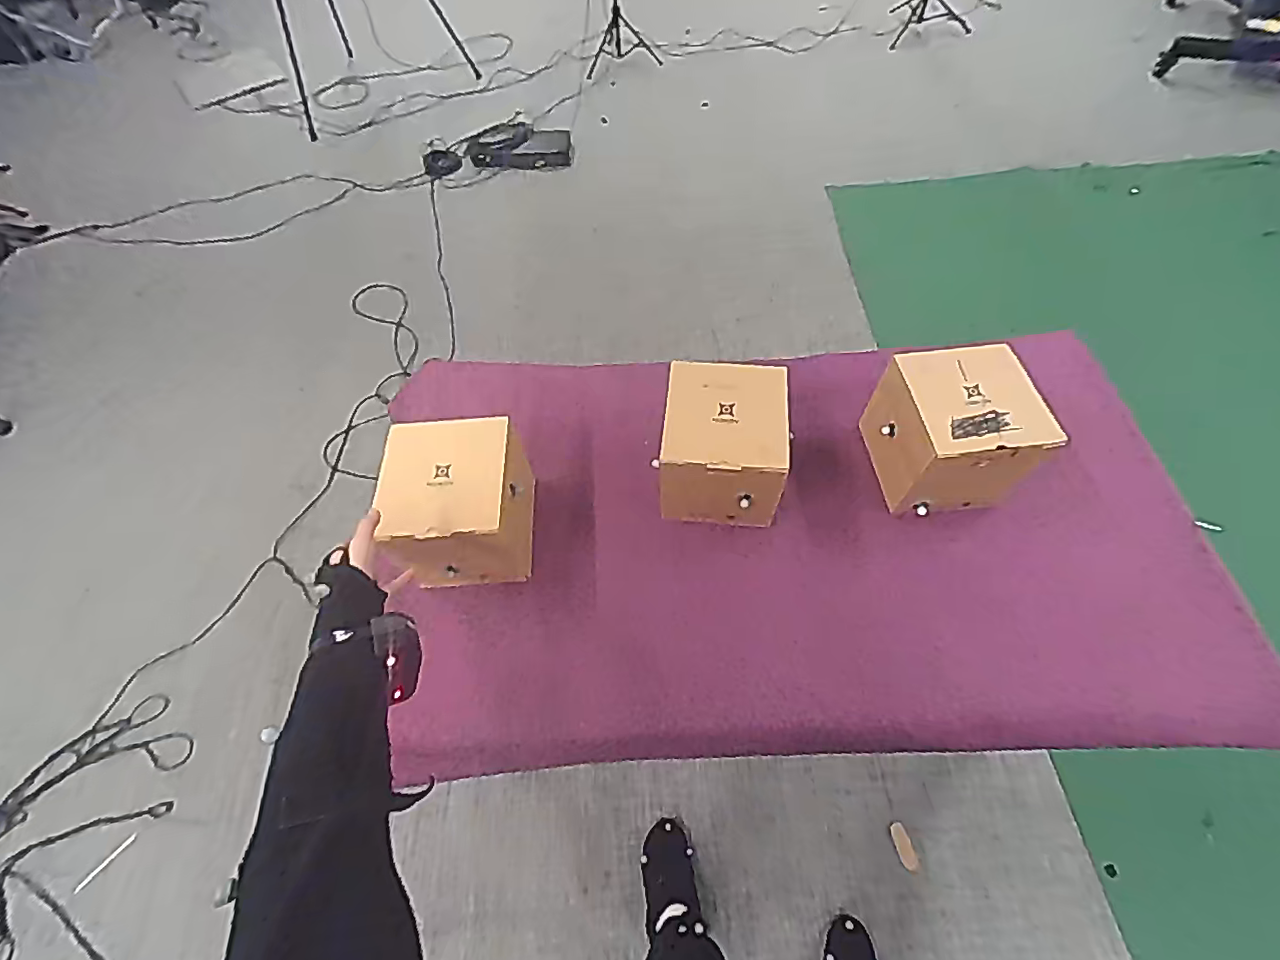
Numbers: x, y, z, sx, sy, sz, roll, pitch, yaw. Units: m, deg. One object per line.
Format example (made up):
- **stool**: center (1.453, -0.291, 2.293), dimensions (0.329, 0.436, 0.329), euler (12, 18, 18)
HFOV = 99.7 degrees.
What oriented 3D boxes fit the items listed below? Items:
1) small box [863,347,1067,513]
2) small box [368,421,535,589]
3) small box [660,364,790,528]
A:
- **small box**: center (0.446, -0.063, 0.778), dimensions (0.168, 0.176, 0.179), euler (-5, 58, 0)
- **small box**: center (-0.248, 0.039, 0.761), dimensions (0.168, 0.176, 0.179), euler (-4, 59, 1)
- **small box**: center (0.122, -0.044, 0.789), dimensions (0.168, 0.176, 0.179), euler (5, 59, 6)
